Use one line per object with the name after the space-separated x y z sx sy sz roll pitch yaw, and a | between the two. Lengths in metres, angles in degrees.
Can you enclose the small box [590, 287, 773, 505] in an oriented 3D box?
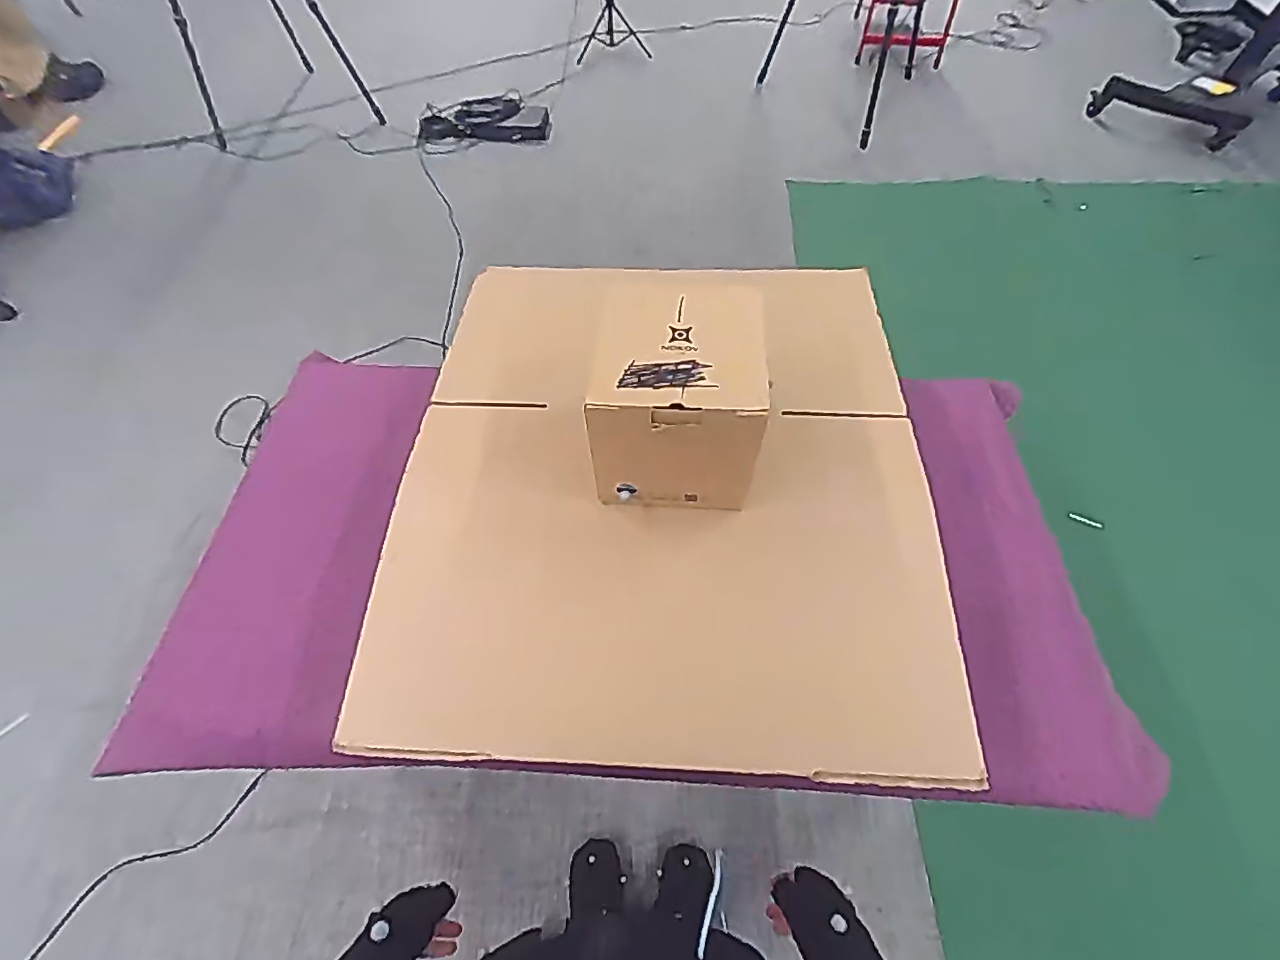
0.041 -0.083 0.585 0.168 0.176 0.179 0 58 1 | small box
